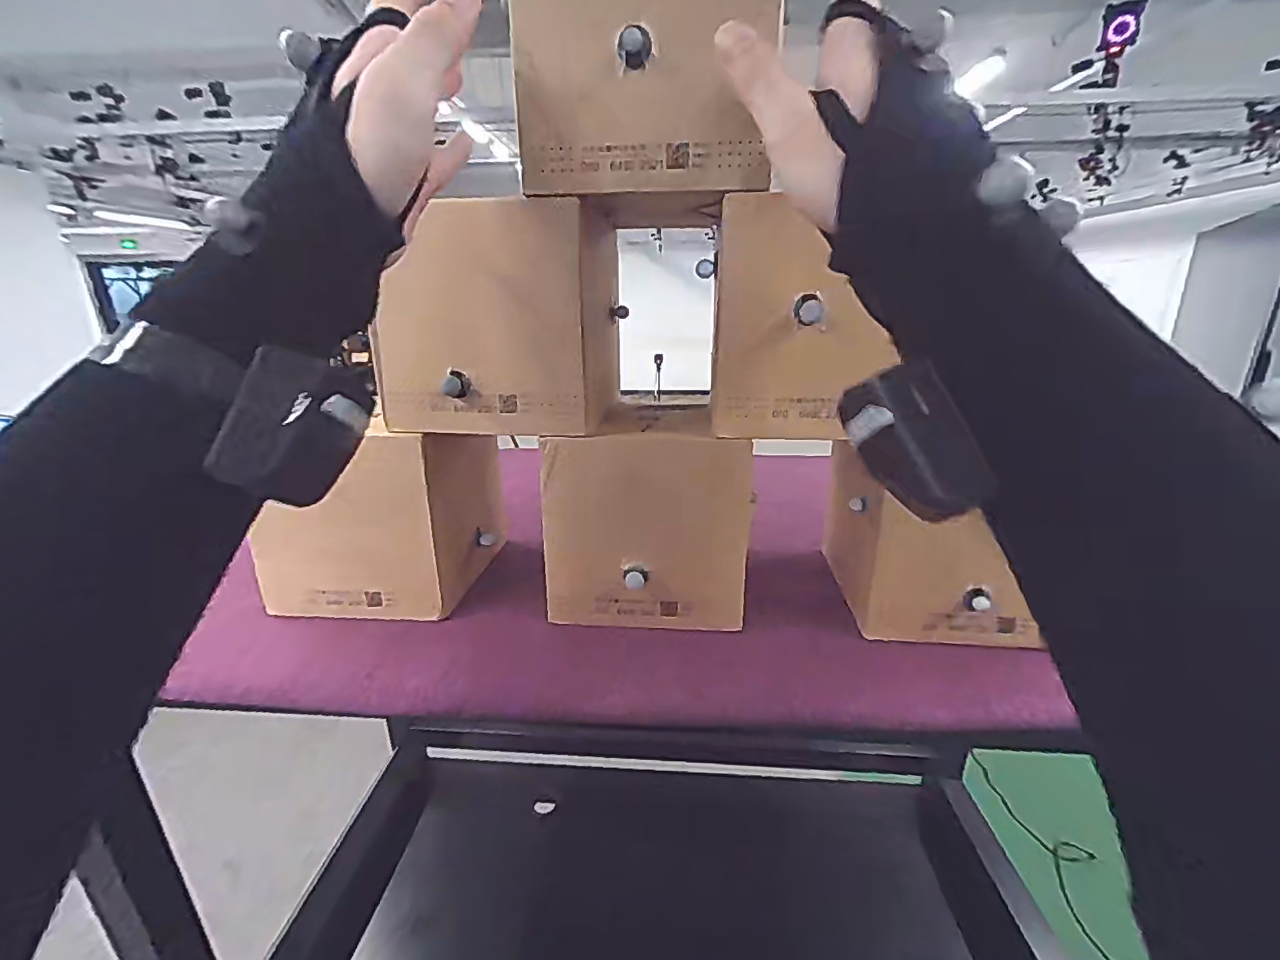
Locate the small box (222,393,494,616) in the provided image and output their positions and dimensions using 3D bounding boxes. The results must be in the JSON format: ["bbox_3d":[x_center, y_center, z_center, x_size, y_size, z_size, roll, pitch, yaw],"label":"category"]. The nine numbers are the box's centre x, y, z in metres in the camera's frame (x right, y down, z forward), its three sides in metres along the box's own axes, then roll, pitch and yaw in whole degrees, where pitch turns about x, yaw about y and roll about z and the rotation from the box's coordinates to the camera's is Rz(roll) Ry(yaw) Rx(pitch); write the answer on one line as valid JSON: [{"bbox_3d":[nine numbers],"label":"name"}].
[{"bbox_3d":[-0.248,0.012,0.524,0.168,0.176,0.179,1,17,4],"label":"small box"}]

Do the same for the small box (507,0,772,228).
[{"bbox_3d":[0.007,-0.294,0.407,0.168,0.176,0.179,2,18,5],"label":"small box"}]

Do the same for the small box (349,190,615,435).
[{"bbox_3d":[-0.116,-0.142,0.470,0.168,0.176,0.179,1,18,6],"label":"small box"}]

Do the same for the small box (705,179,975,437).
[{"bbox_3d":[0.140,-0.133,0.446,0.168,0.176,0.179,2,17,5],"label":"small box"}]
